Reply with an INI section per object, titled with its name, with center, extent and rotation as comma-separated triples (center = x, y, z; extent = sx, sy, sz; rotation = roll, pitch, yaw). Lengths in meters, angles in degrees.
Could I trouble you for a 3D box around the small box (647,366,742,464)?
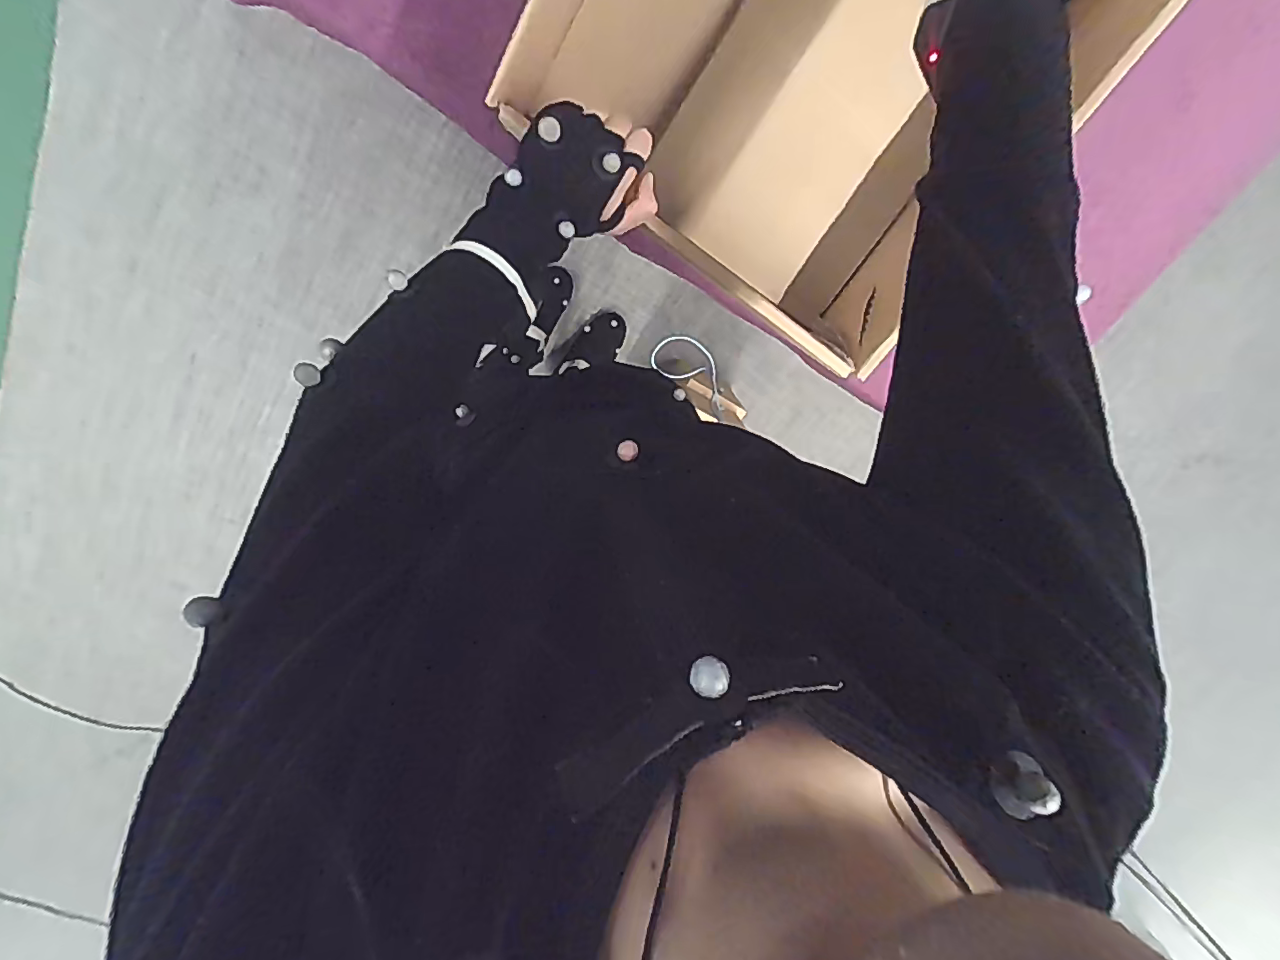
[small box]
center = 0.136, -0.177, 1.422
extent = 0.179, 0.176, 0.168
rotation = 27, 112, -18
